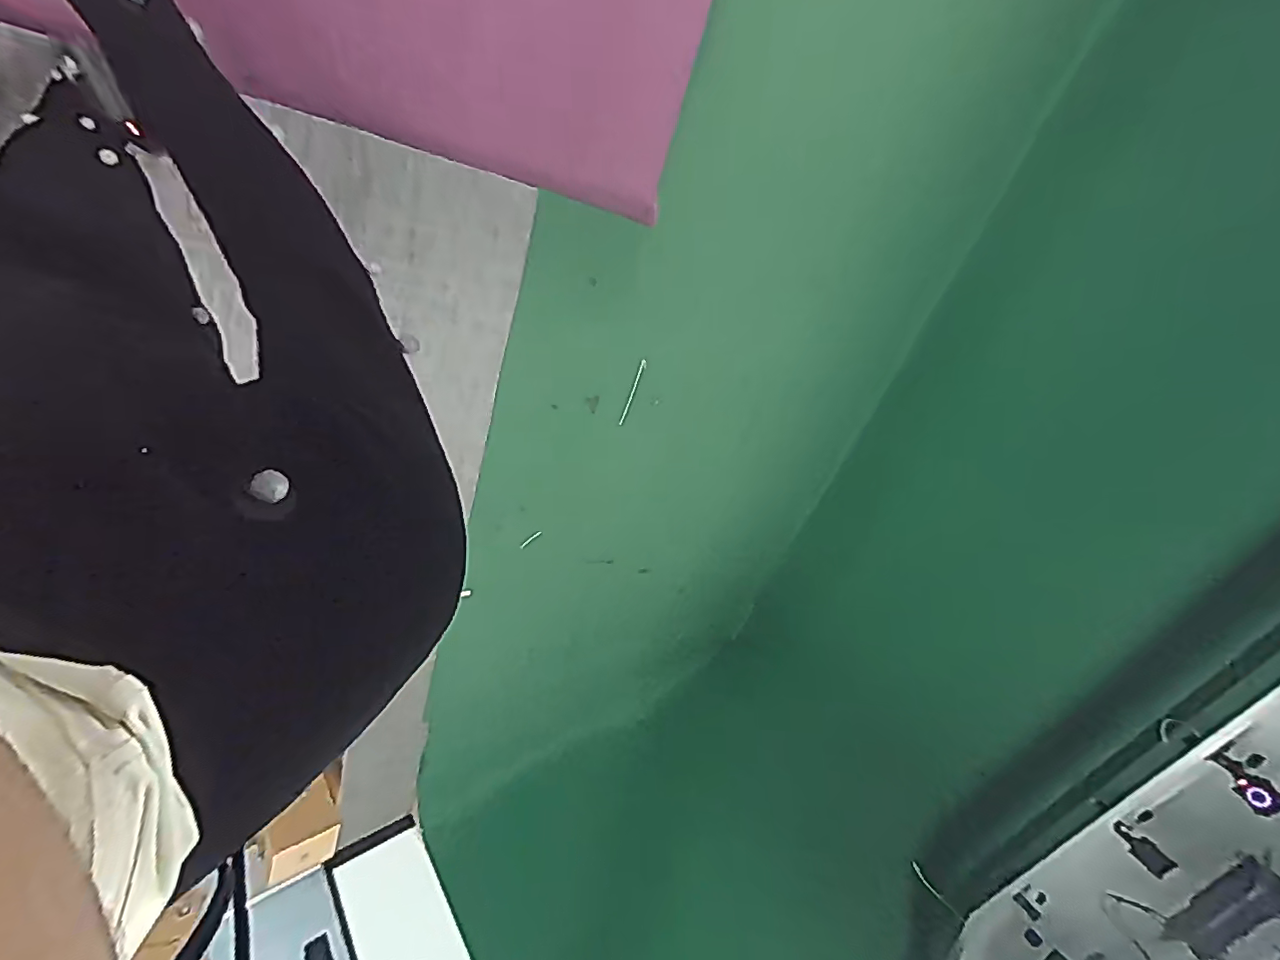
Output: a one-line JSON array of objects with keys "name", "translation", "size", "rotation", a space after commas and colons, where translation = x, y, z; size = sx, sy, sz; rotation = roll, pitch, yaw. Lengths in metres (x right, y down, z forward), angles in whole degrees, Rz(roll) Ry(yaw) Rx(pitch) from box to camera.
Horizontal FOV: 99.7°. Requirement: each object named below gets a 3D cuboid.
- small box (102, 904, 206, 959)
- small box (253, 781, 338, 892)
[{"name": "small box", "translation": [-1.108, 1.123, 1.235], "size": [0.168, 0.176, 0.179], "rotation": [-4, 127, -44]}, {"name": "small box", "translation": [-0.986, 1.007, 1.542], "size": [0.168, 0.176, 0.179], "rotation": [-5, 127, -46]}]
